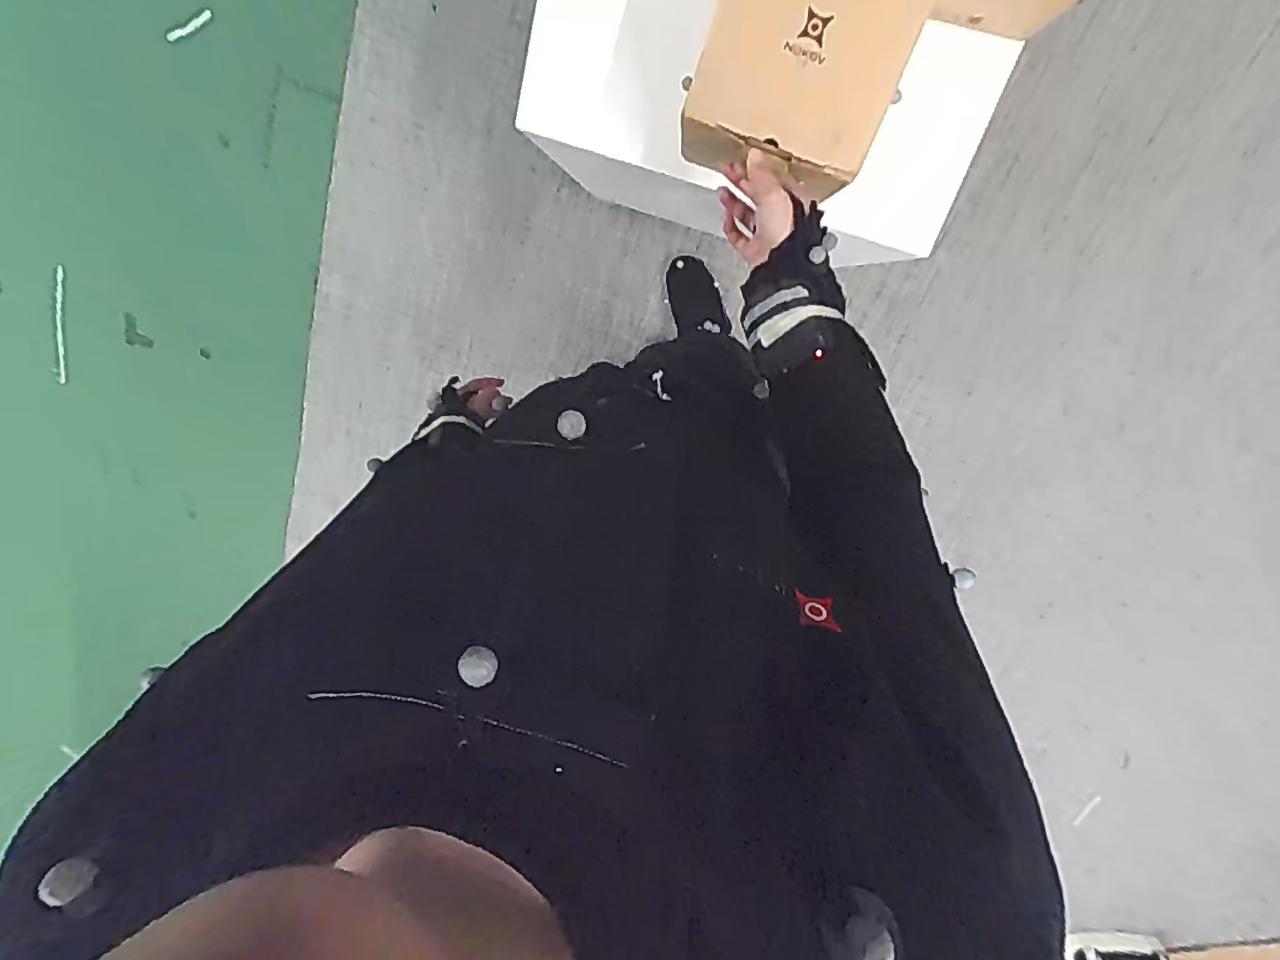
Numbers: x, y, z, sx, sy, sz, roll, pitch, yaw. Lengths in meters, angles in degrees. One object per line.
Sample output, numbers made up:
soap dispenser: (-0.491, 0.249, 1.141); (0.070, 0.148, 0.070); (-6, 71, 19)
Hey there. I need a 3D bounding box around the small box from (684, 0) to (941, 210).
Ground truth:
small box: (0.150, -0.385, 0.522); (0.168, 0.176, 0.179); (20, 109, -3)
